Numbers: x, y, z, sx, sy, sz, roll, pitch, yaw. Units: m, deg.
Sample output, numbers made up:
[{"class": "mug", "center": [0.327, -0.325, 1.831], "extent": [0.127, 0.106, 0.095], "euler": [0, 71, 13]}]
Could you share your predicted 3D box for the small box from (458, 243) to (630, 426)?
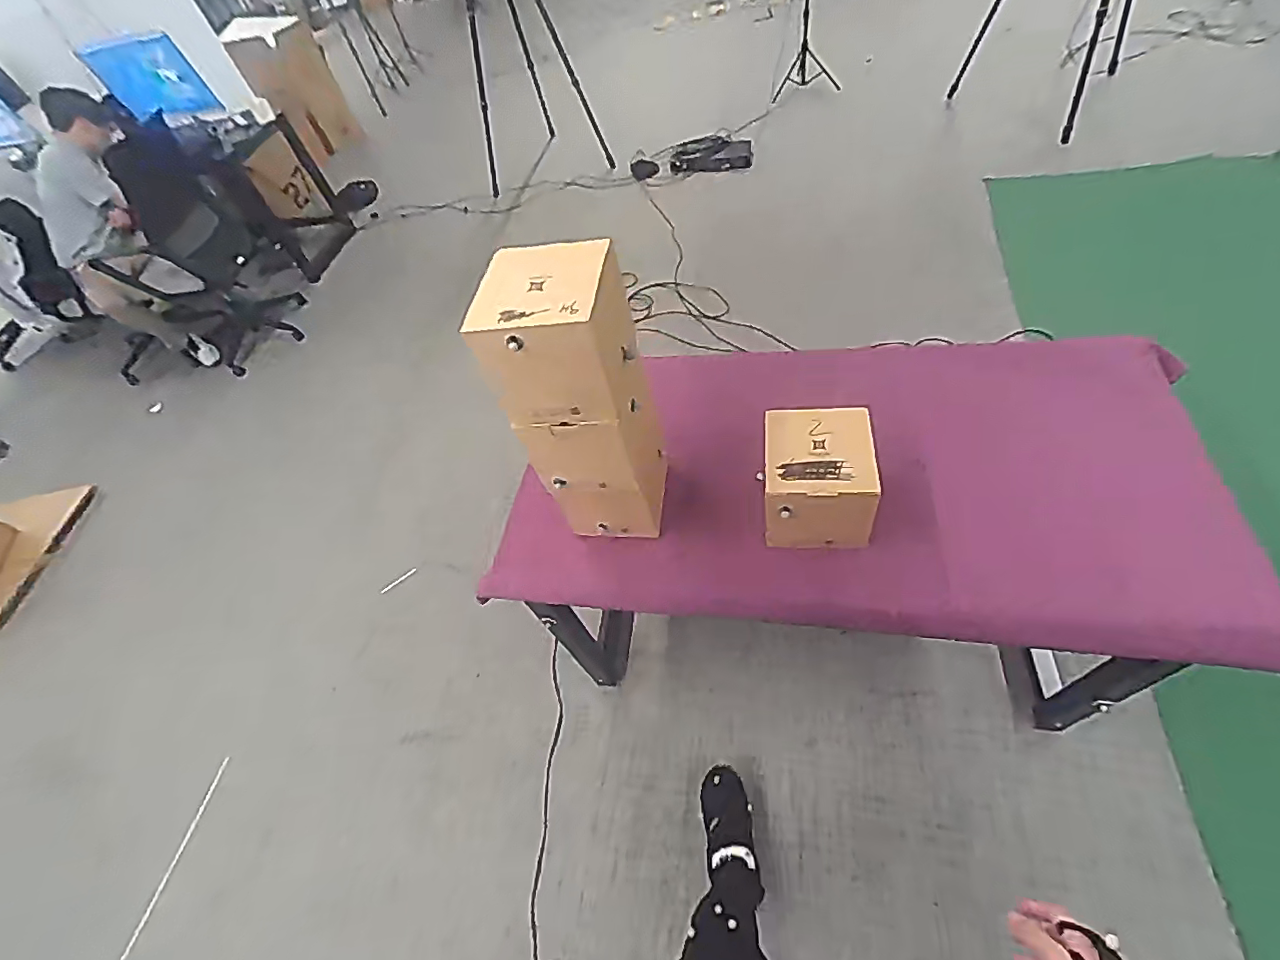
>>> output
[{"class": "small box", "center": [-0.116, -0.195, 0.741], "extent": [0.168, 0.176, 0.179], "euler": [-1, 53, 13]}]

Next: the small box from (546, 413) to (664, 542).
[{"class": "small box", "center": [-0.053, -0.004, 1.001], "extent": [0.168, 0.176, 0.179], "euler": [-1, 55, 14]}]

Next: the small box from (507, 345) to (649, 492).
[{"class": "small box", "center": [-0.086, -0.093, 0.866], "extent": [0.168, 0.176, 0.179], "euler": [-1, 53, 14]}]
